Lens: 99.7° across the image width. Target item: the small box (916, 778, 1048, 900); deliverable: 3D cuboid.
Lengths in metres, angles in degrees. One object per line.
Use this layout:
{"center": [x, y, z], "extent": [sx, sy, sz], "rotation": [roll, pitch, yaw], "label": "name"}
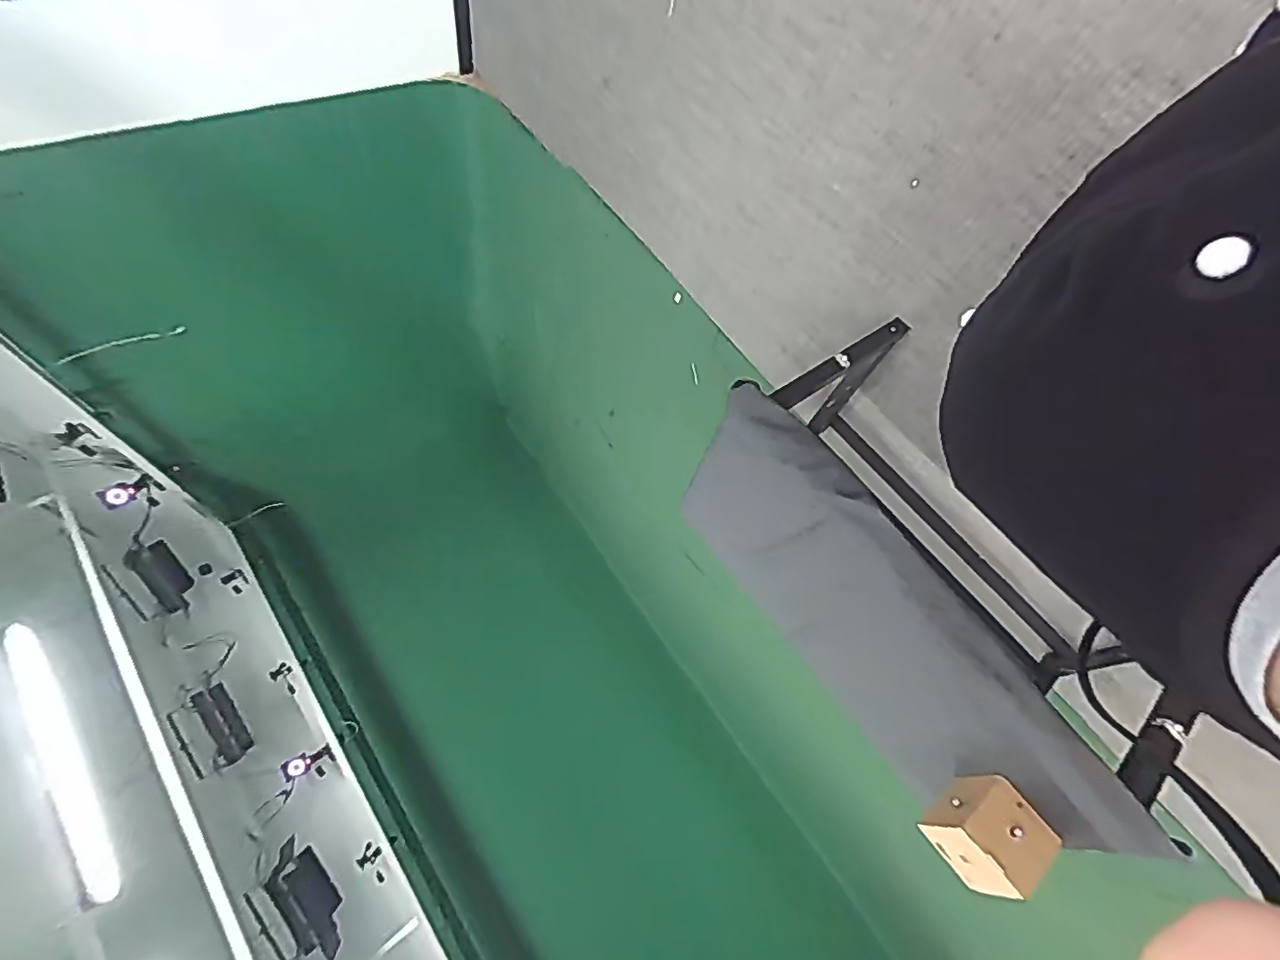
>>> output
{"center": [0.792, 0.817, 1.249], "extent": [0.168, 0.176, 0.179], "rotation": [50, 152, 19], "label": "small box"}
